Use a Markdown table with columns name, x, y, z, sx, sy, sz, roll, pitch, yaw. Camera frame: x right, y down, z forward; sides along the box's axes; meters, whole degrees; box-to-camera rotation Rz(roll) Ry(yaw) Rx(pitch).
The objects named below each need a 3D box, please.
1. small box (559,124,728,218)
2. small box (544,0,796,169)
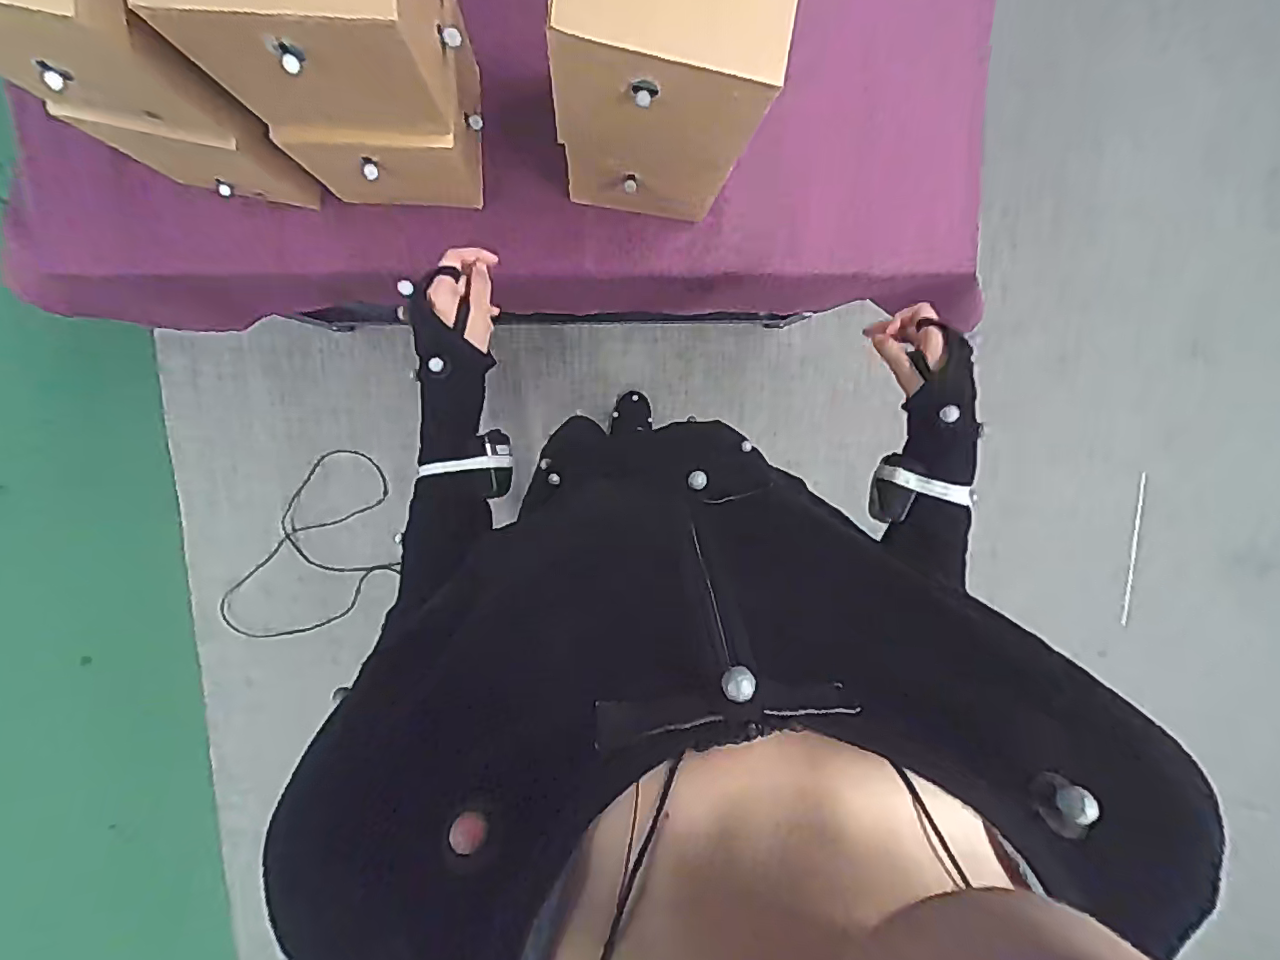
| name | x | y | z | sx | sy | sz | roll | pitch | yaw |
| --- | --- | --- | --- | --- | --- | --- | --- | --- | --- |
| small box | 0.009 | -0.419 | 0.613 | 0.179 | 0.176 | 0.168 | 7 | 97 | -6 |
| small box | 0.023 | -0.391 | 0.452 | 0.179 | 0.176 | 0.168 | 8 | 97 | -8 |
